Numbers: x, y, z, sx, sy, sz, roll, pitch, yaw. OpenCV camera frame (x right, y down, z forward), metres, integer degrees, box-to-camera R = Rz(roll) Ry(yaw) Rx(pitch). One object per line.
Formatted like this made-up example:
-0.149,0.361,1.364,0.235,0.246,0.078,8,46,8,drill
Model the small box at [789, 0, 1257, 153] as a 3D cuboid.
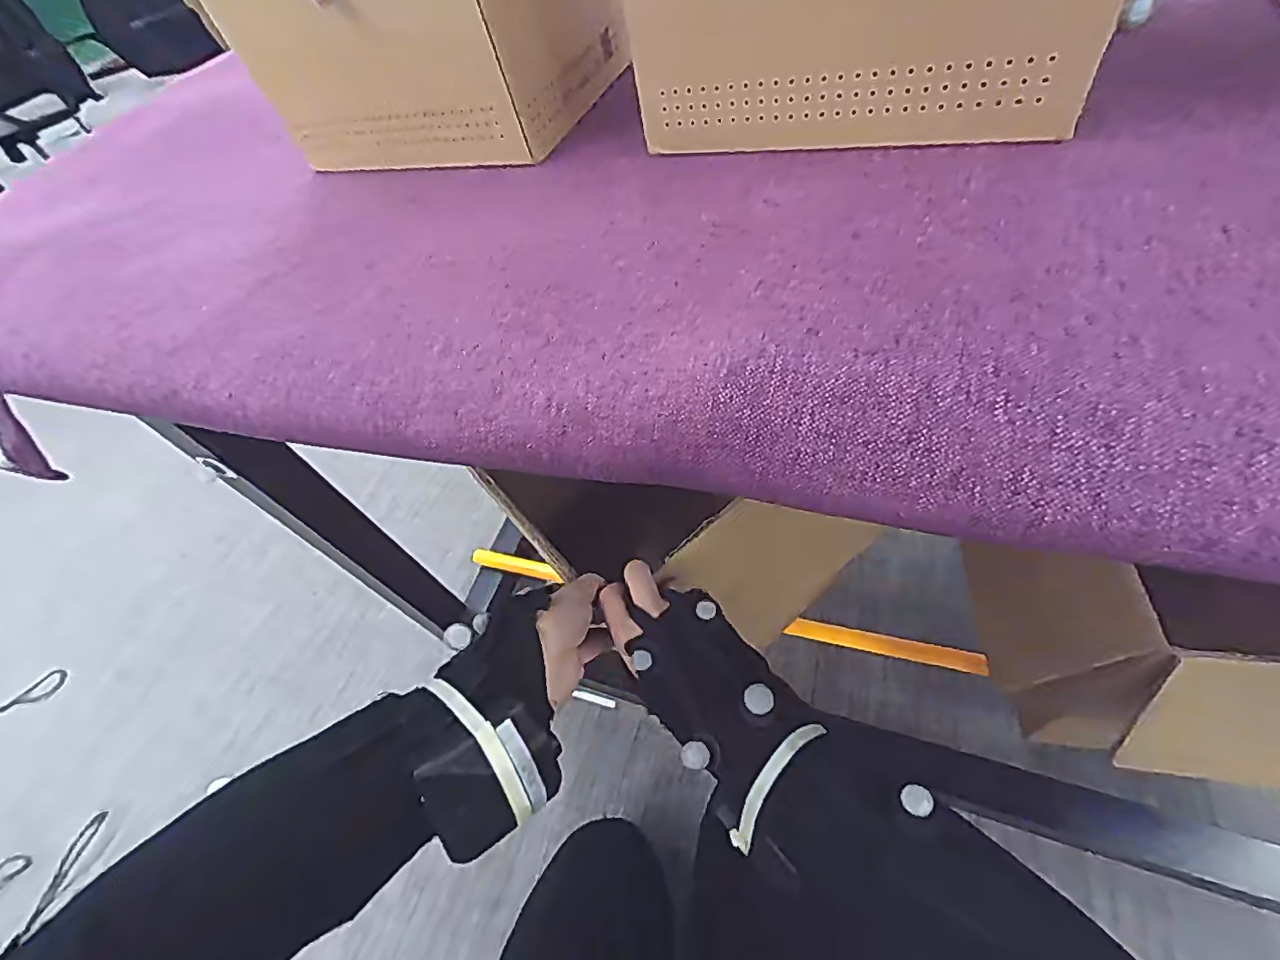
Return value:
0.144,-0.259,0.185,0.179,0.176,0.168,-9,91,13,small box
